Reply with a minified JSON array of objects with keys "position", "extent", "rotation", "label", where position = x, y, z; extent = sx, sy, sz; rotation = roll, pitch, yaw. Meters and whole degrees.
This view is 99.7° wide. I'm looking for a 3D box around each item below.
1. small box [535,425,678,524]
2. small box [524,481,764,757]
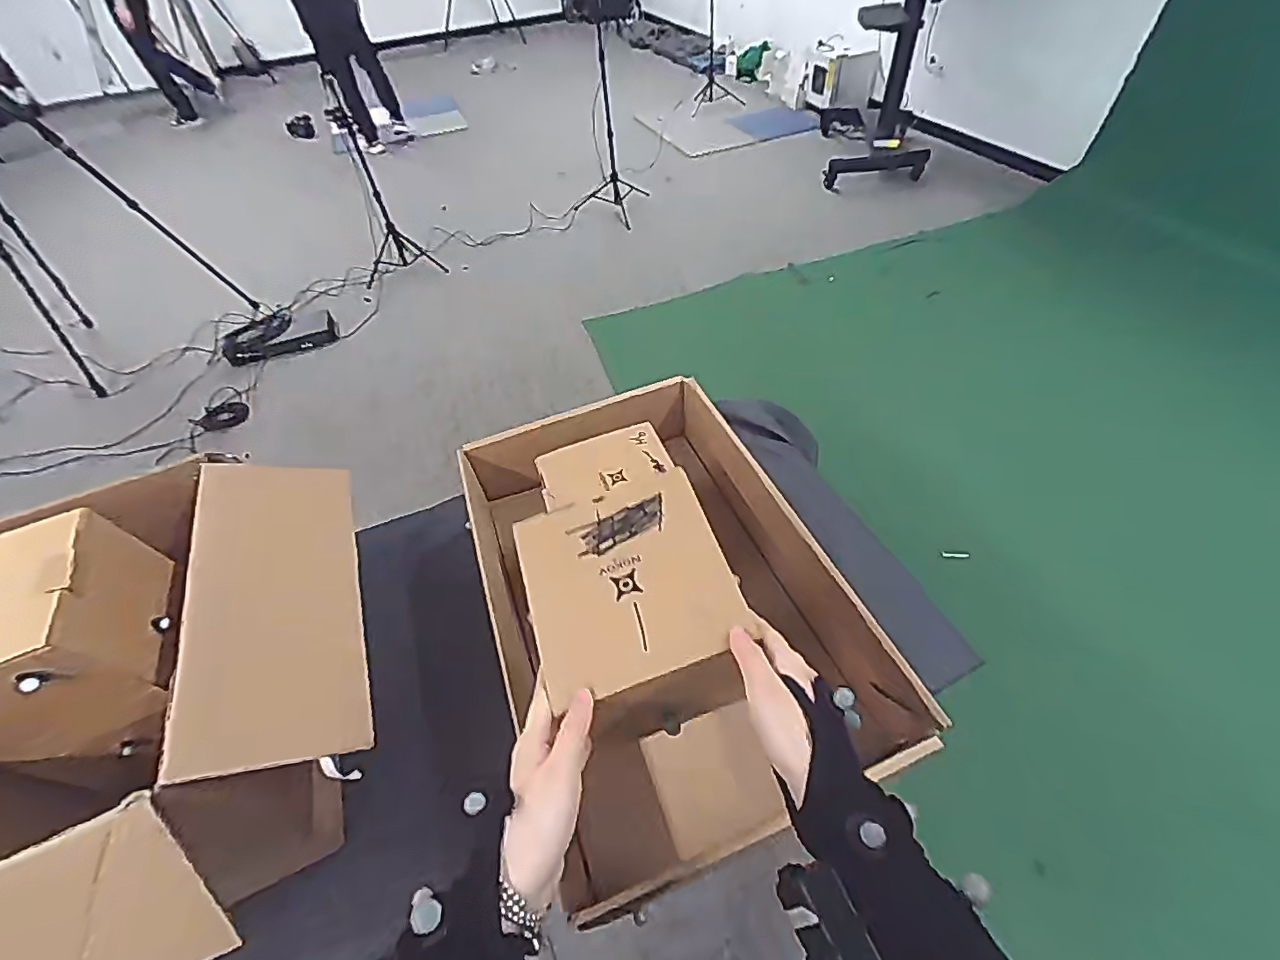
[{"position":[-0.033,0.055,0.784],"extent":[0.179,0.176,0.168],"rotation":[-19,52,-9],"label":"small box"},{"position":[0.004,0.136,0.516],"extent":[0.168,0.176,0.179],"rotation":[-19,53,-3],"label":"small box"}]
